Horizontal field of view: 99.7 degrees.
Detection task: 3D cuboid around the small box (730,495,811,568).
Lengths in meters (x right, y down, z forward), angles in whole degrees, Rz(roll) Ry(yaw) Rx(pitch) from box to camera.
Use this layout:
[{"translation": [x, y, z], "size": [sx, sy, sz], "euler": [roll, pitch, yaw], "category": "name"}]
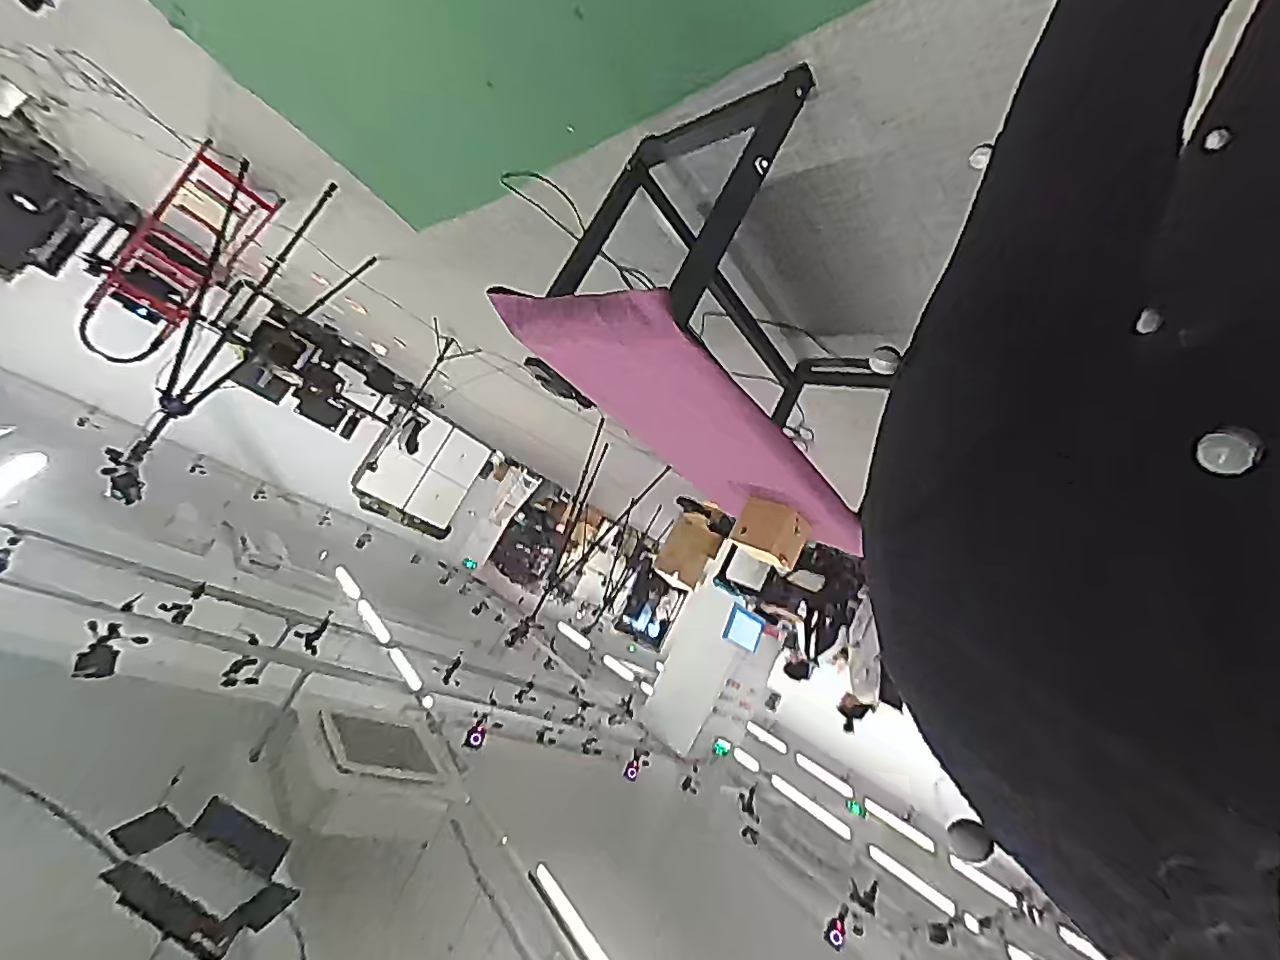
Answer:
[{"translation": [0.440, 0.167, 1.810], "size": [0.179, 0.176, 0.168], "euler": [17, 165, 47], "category": "small box"}]
